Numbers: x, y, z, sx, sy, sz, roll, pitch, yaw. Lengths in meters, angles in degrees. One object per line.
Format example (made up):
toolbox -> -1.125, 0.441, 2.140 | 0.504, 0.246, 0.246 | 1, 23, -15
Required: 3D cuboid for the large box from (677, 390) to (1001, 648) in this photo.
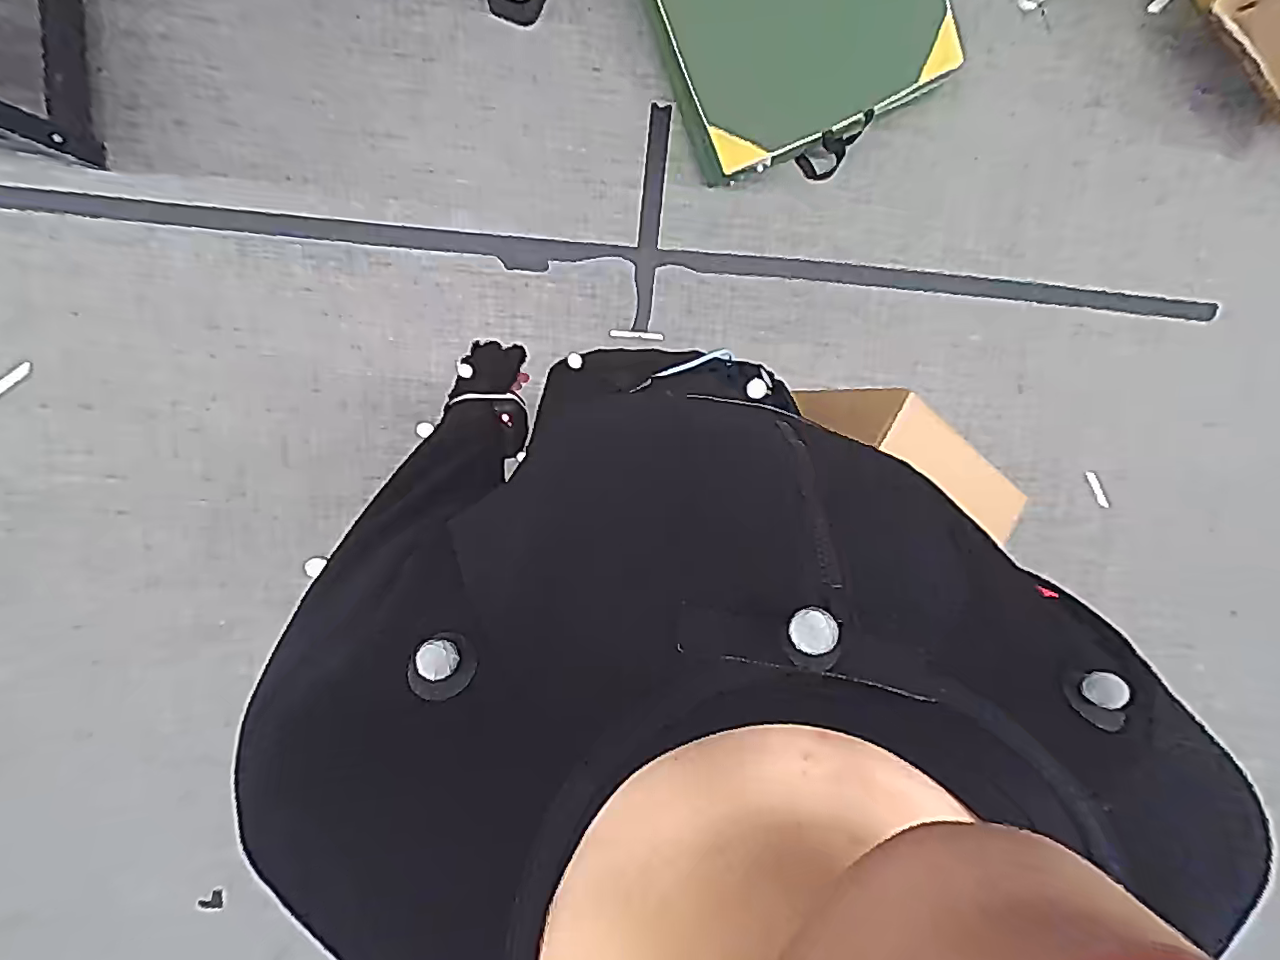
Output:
large box -> 0.339, 0.052, 1.001 | 0.320, 0.408, 0.320 | 32, 86, -21
